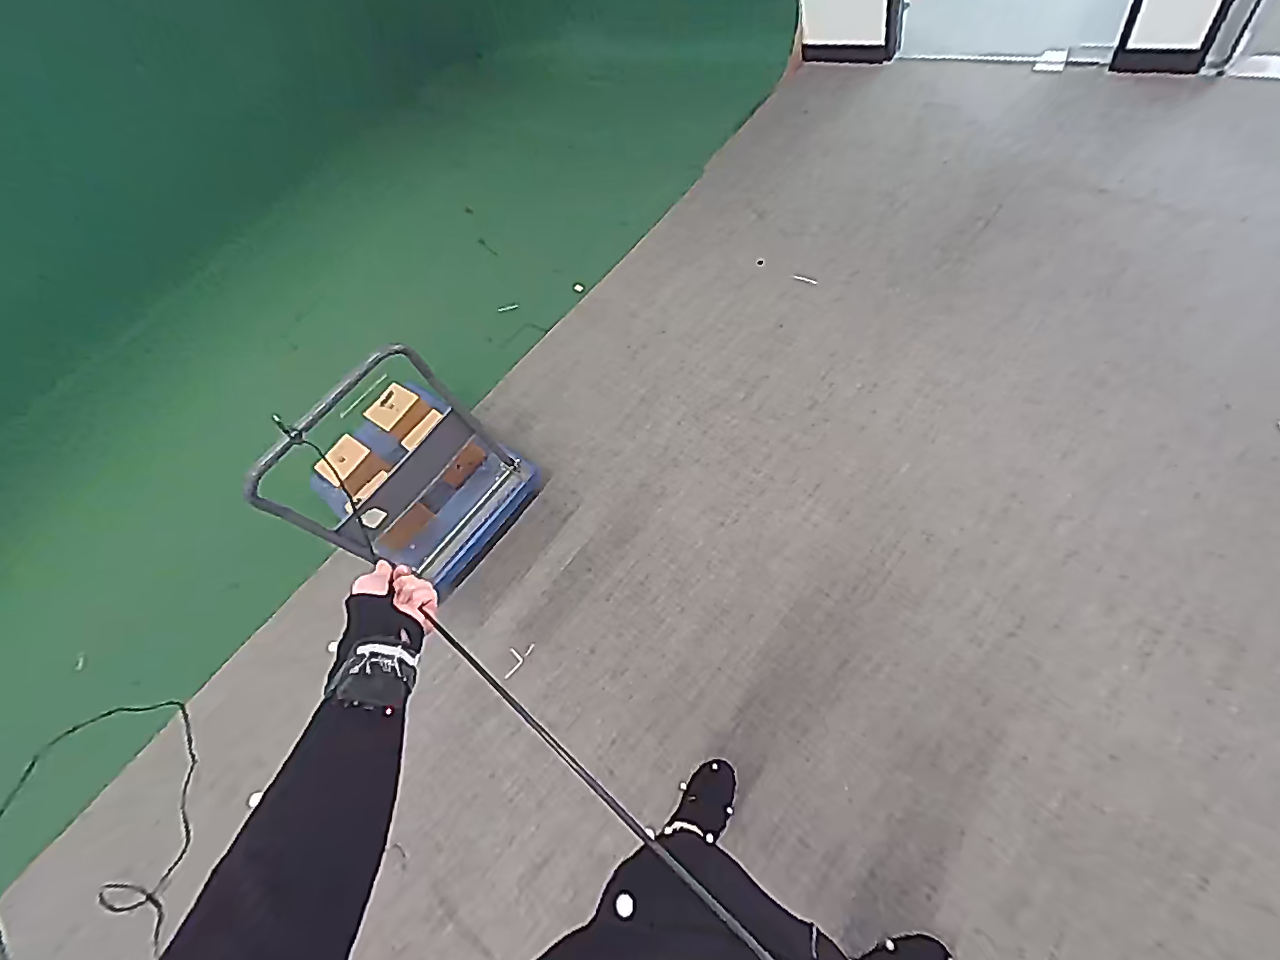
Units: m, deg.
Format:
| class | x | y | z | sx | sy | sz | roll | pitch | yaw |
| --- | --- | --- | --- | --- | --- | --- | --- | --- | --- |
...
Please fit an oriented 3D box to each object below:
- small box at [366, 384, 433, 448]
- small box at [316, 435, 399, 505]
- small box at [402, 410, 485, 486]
| class | x | y | z | sx | sy | sz | roll | pitch | yaw |
| --- | --- | --- | --- | --- | --- | --- | --- | --- | --- |
| small box | -0.874 | -0.227 | 2.024 | 0.179 | 0.176 | 0.168 | 28 | 74 | 30 |
| small box | -1.017 | -0.030 | 1.960 | 0.179 | 0.176 | 0.168 | 28 | 72 | 31 |
| small box | -0.679 | -0.106 | 1.881 | 0.179 | 0.176 | 0.168 | 33 | 76 | 31 |
